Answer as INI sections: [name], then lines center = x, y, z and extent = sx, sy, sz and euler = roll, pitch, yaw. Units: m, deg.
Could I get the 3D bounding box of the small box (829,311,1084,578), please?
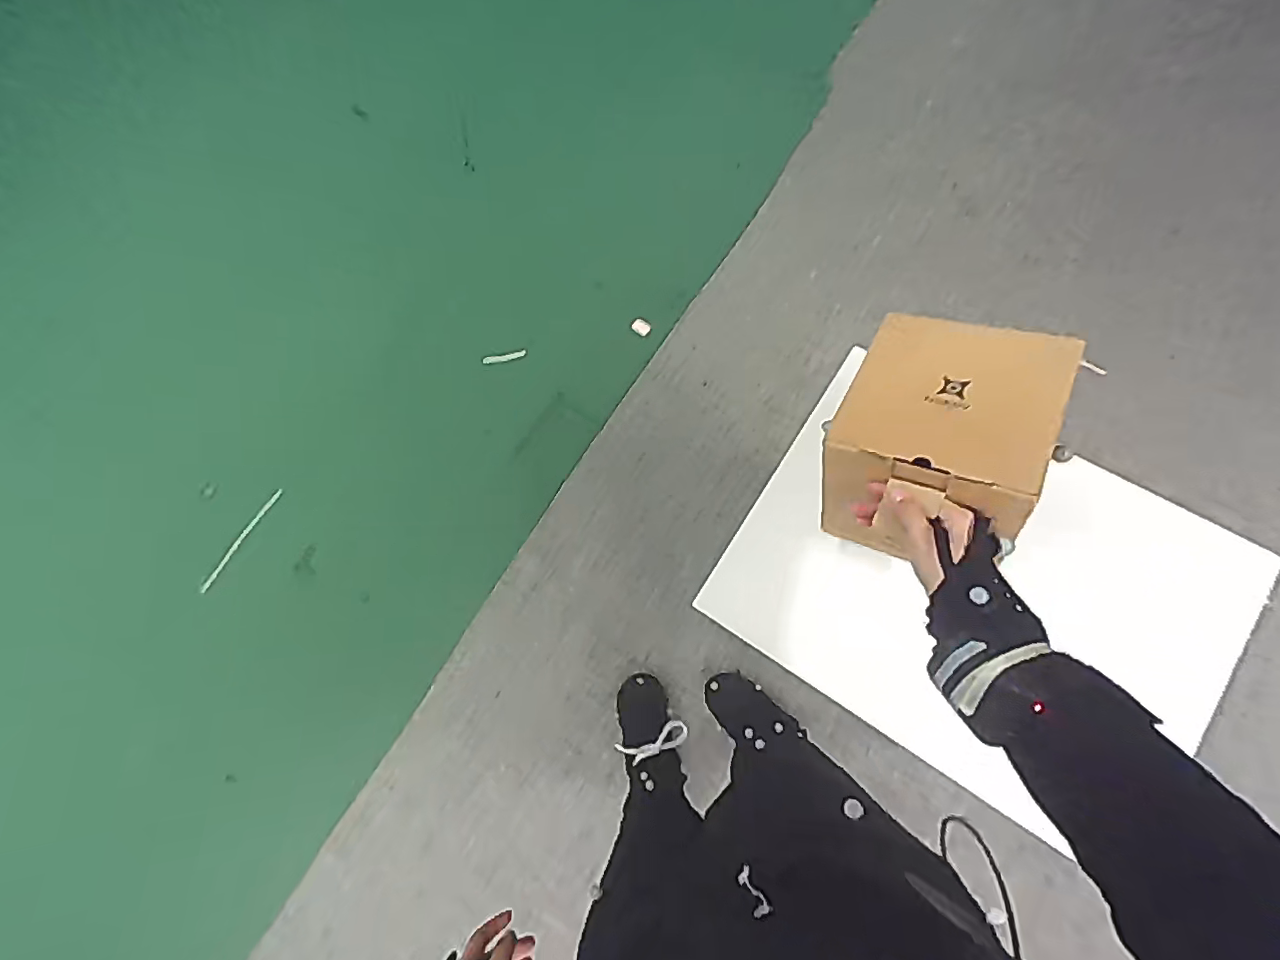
[small box]
center = 0.295, -0.034, 0.536
extent = 0.168, 0.176, 0.179
euler = 20, 65, 29
